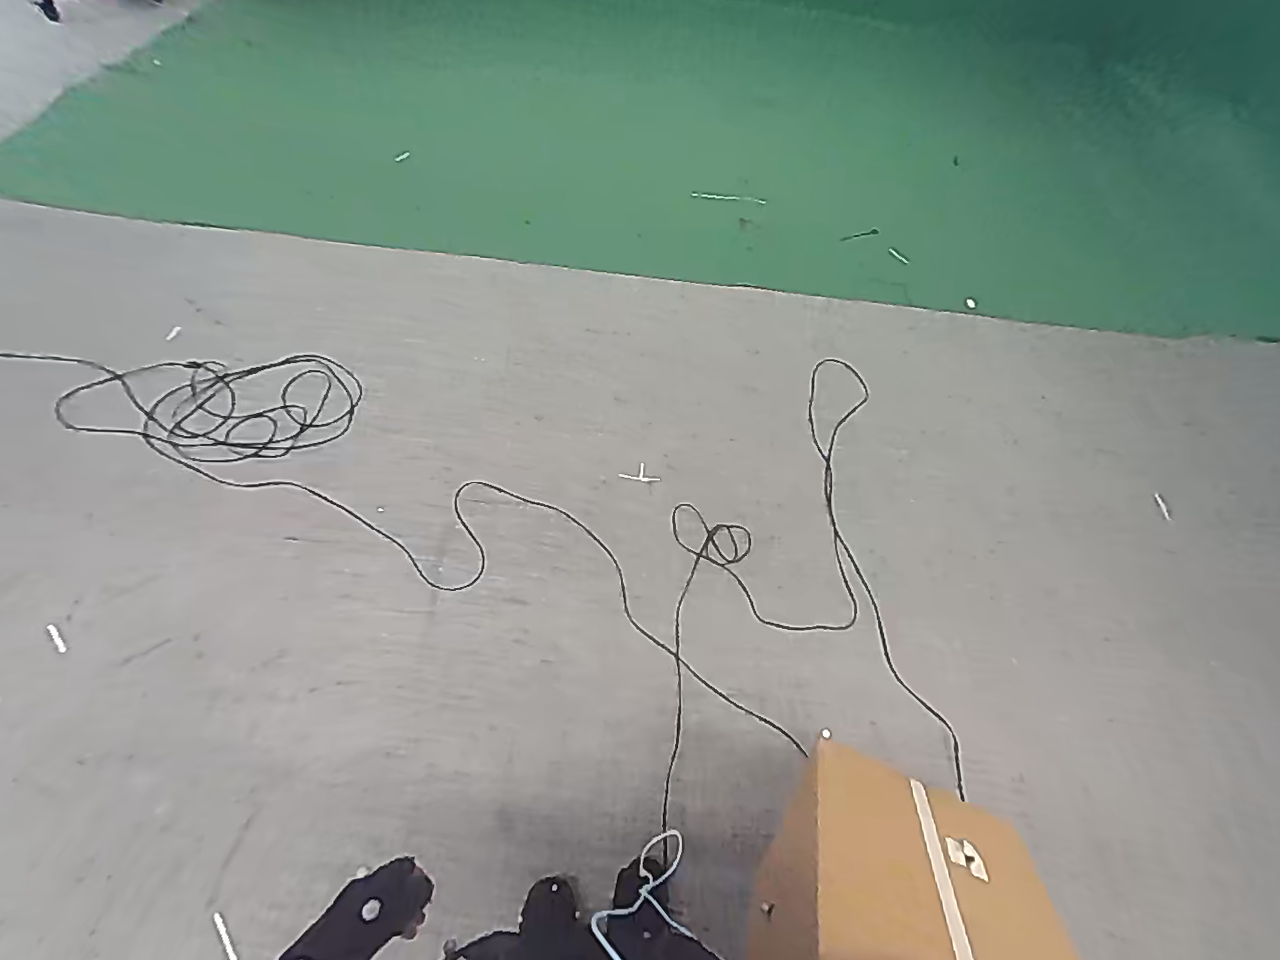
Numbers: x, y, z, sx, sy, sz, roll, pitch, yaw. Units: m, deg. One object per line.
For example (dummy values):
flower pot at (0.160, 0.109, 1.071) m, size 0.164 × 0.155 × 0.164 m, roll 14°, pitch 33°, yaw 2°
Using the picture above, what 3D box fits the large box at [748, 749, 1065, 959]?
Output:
large box at (0.330, 0.666, 0.716) m, size 0.320 × 0.408 × 0.320 m, roll 23°, pitch 103°, yaw 15°
